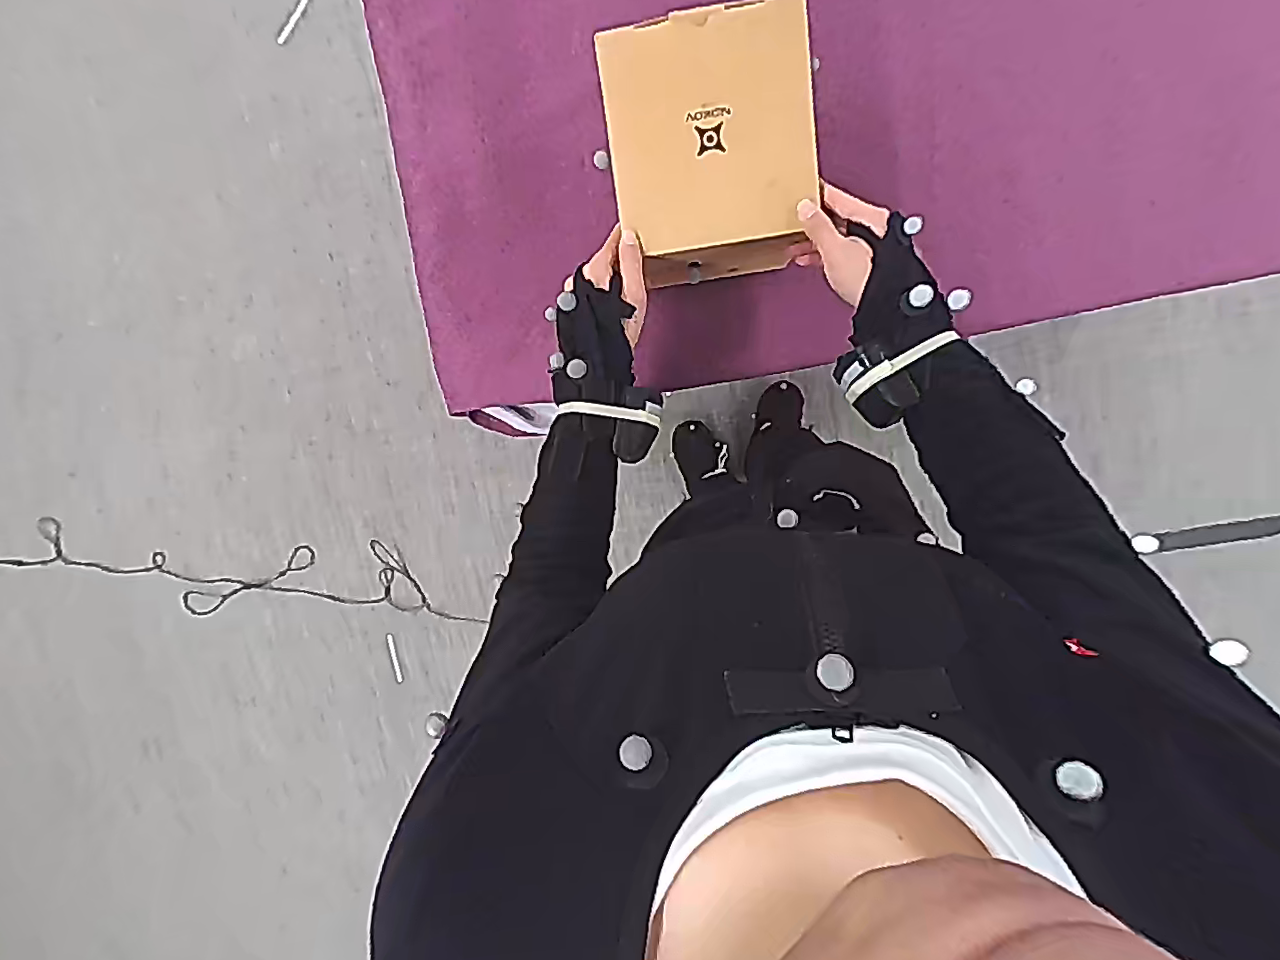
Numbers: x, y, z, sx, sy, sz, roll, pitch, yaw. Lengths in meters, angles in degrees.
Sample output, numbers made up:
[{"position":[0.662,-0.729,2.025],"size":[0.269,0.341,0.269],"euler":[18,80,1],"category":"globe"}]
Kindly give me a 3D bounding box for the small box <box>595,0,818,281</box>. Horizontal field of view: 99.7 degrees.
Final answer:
[{"position":[0.062,-0.296,0.510],"size":[0.168,0.176,0.179],"euler":[-7,99,6],"category":"small box"}]
